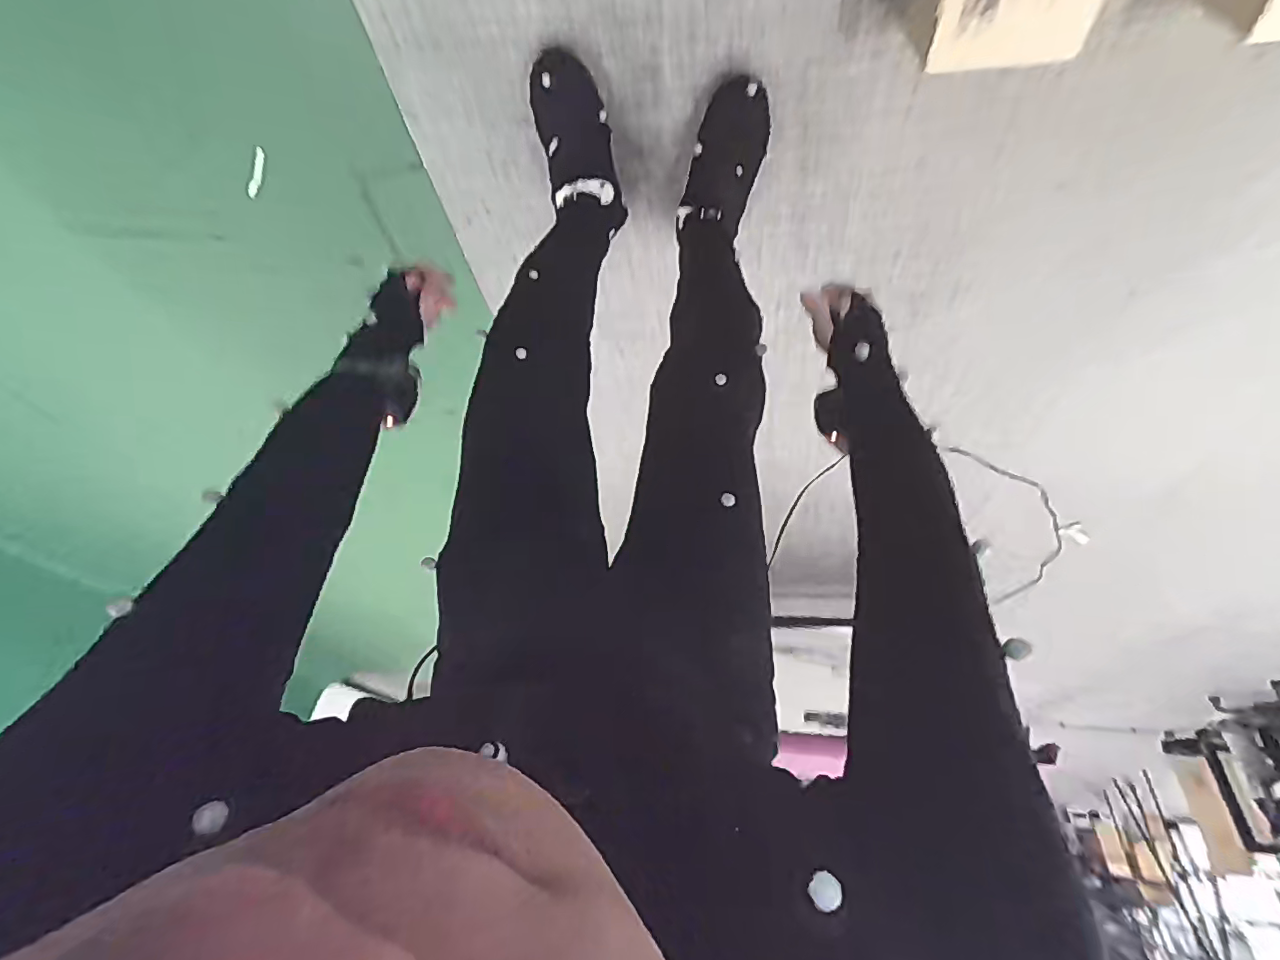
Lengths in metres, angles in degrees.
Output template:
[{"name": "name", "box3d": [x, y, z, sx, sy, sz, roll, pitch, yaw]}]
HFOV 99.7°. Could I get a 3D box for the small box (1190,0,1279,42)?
[{"name": "small box", "box3d": [0.774, -0.616, 0.588, 0.179, 0.176, 0.168, -2, 145, 10]}]
